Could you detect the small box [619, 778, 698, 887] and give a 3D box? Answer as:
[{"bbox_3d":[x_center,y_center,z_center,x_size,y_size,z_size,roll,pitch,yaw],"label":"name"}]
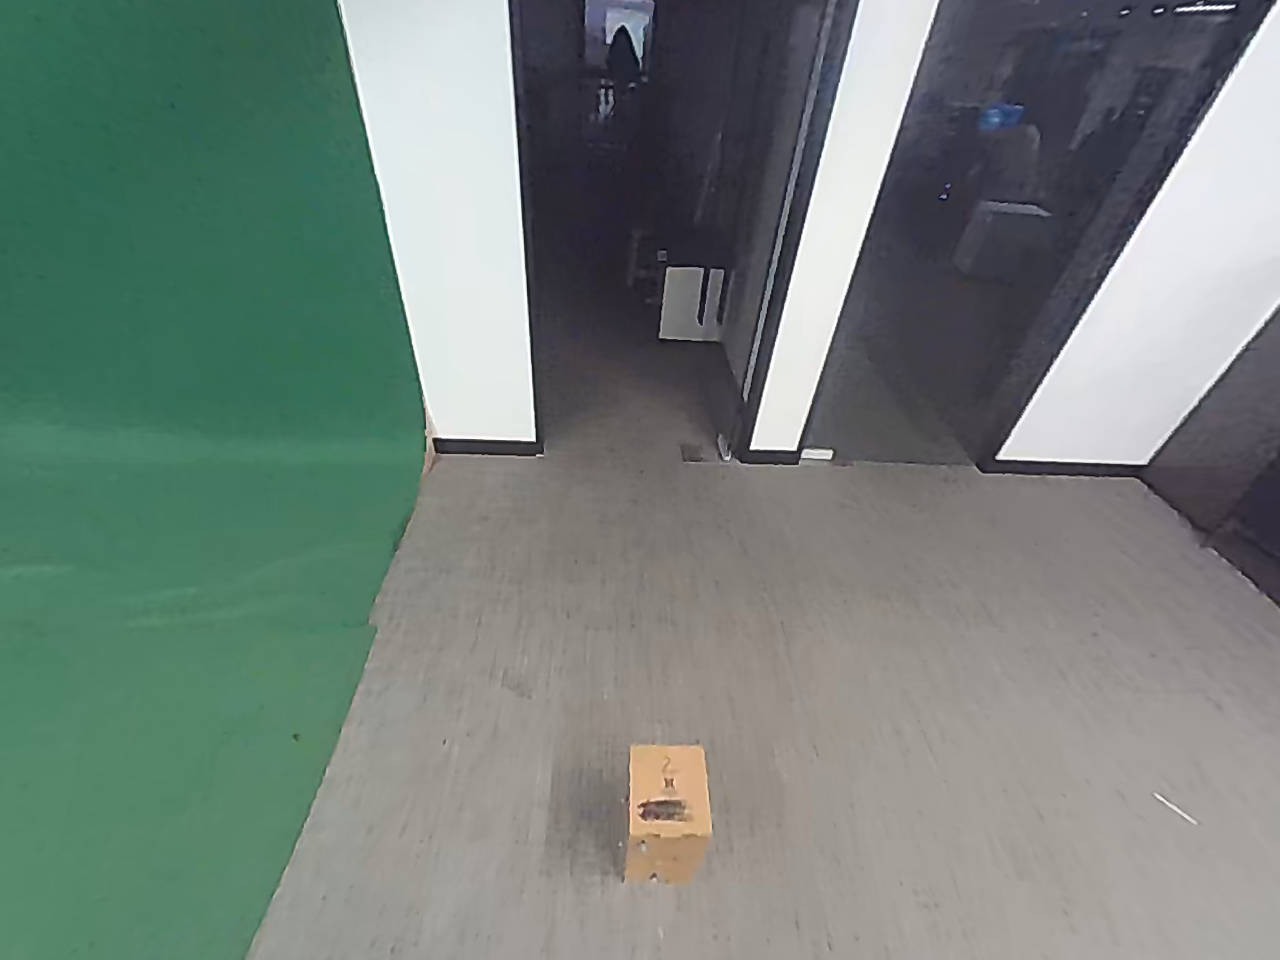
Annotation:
[{"bbox_3d":[0.036,0.833,1.279,0.168,0.176,0.179,3,40,-4],"label":"small box"}]
